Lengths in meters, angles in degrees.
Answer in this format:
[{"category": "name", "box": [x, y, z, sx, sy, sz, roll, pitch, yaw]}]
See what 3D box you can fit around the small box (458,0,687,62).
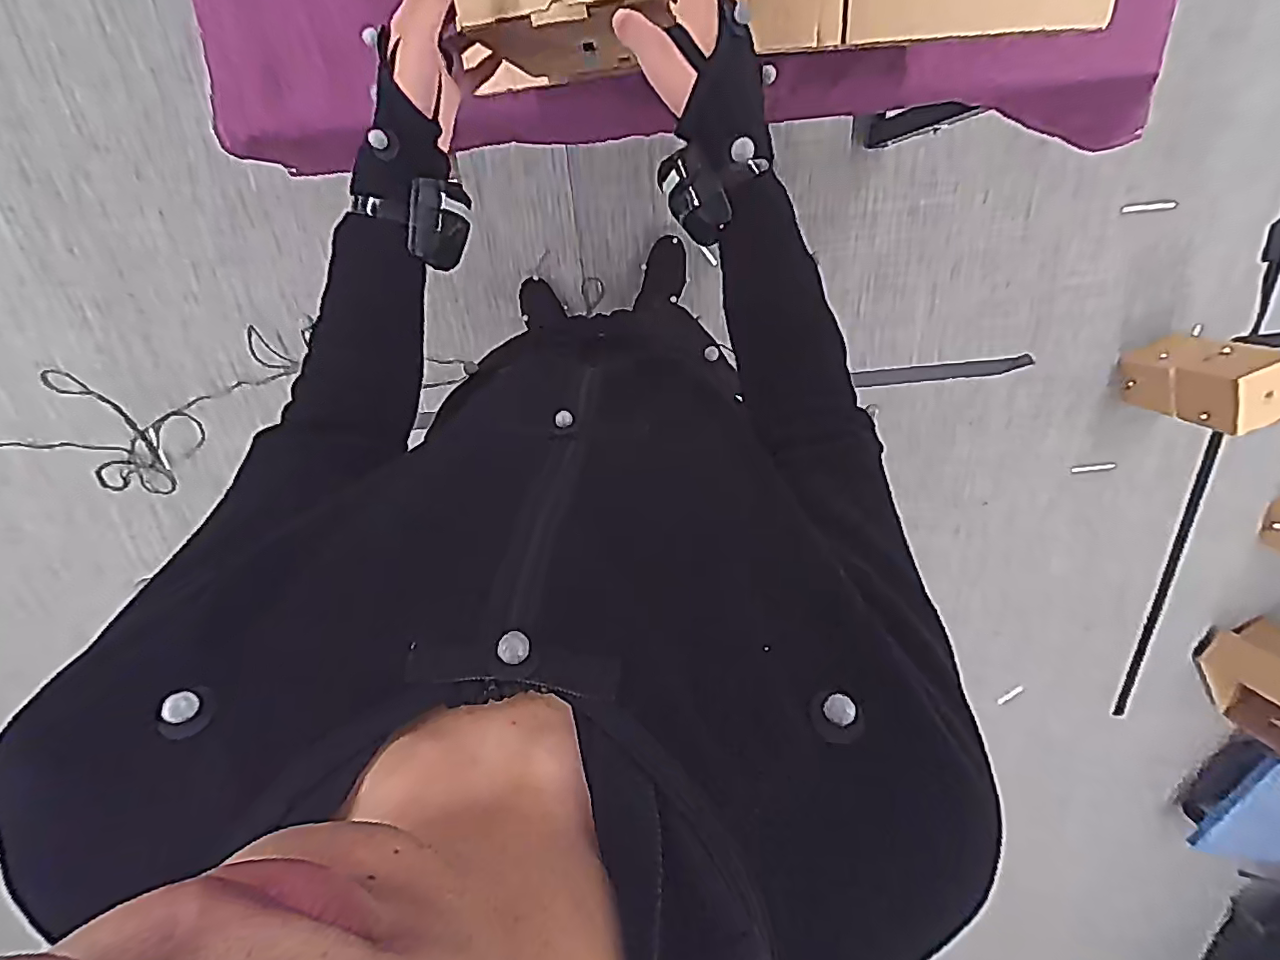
[{"category": "small box", "box": [-0.052, -0.470, 0.444, 0.168, 0.176, 0.179, 1, 116, 11]}]
